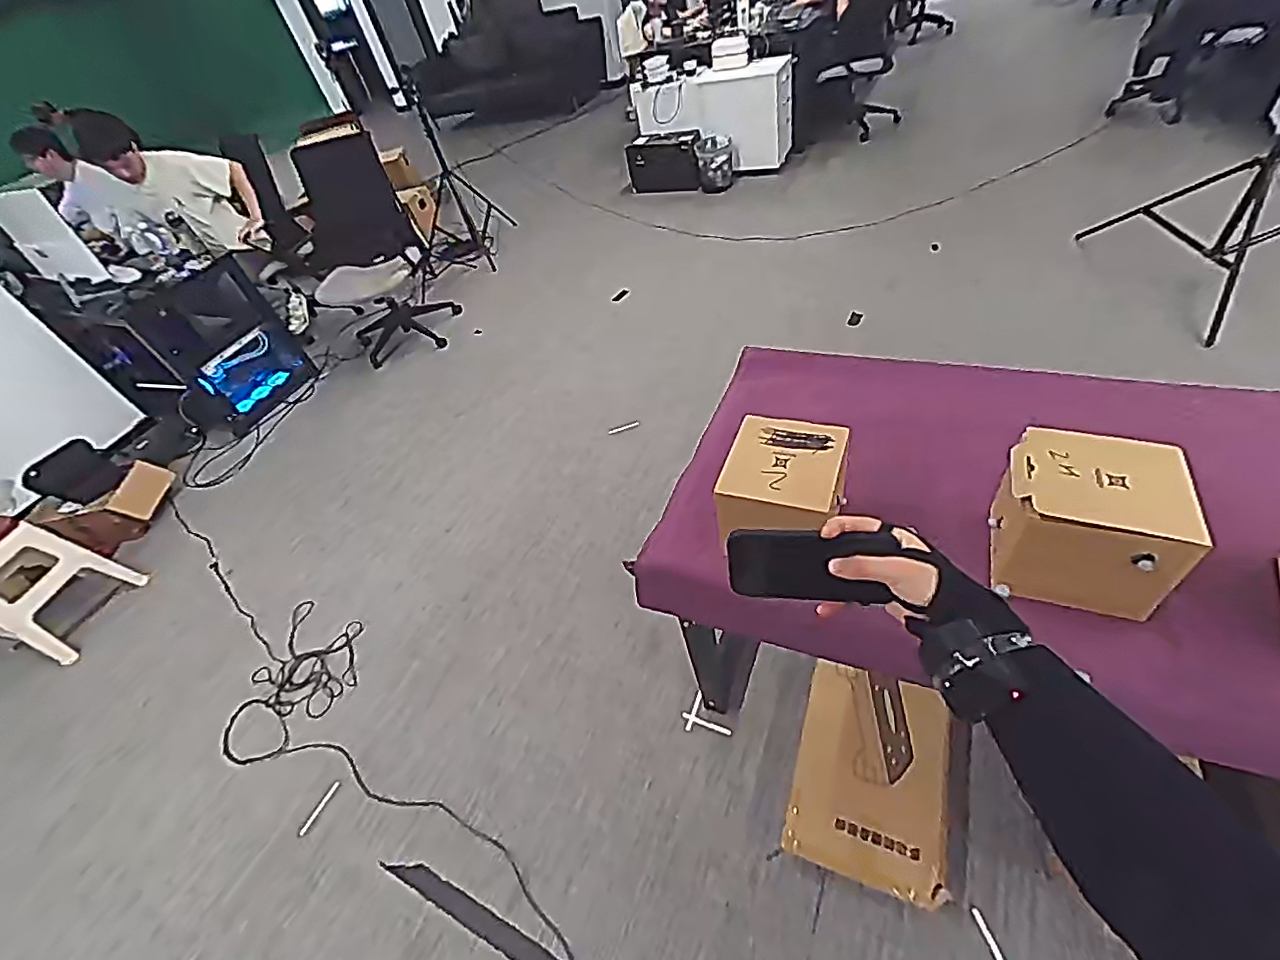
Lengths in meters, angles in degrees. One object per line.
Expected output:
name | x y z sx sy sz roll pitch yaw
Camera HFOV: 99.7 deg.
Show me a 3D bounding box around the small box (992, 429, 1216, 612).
small box | 0.601 0.055 0.729 0.179 0.176 0.168 10 49 23
